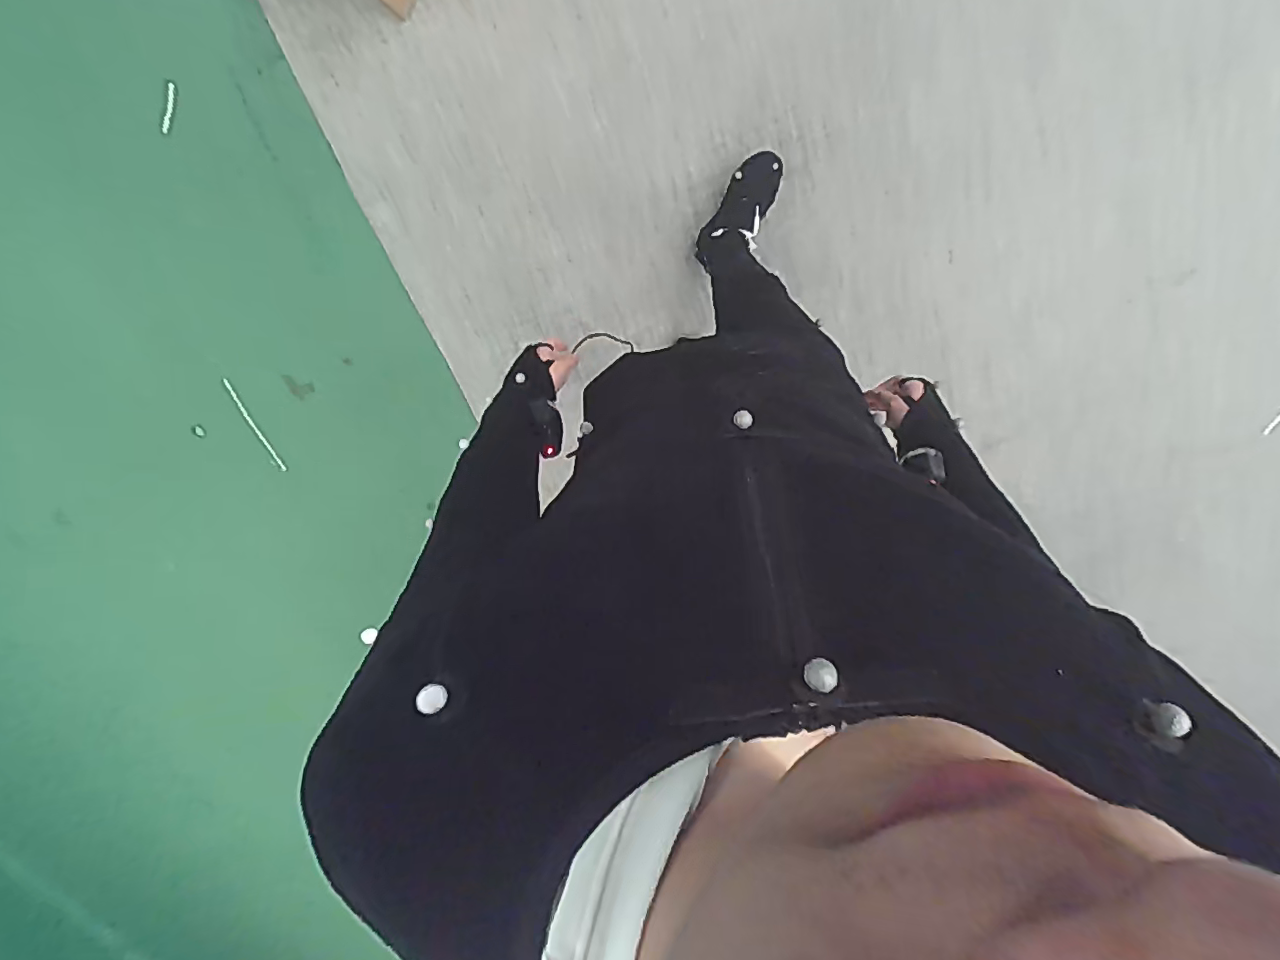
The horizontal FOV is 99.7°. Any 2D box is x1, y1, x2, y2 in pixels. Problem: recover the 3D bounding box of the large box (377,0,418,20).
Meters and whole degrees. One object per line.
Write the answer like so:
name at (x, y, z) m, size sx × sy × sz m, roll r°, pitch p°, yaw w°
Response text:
large box at (-0.545, -1.229, 1.020) m, size 0.320 × 0.320 × 0.408 m, roll 36°, pitch 111°, yaw -12°
